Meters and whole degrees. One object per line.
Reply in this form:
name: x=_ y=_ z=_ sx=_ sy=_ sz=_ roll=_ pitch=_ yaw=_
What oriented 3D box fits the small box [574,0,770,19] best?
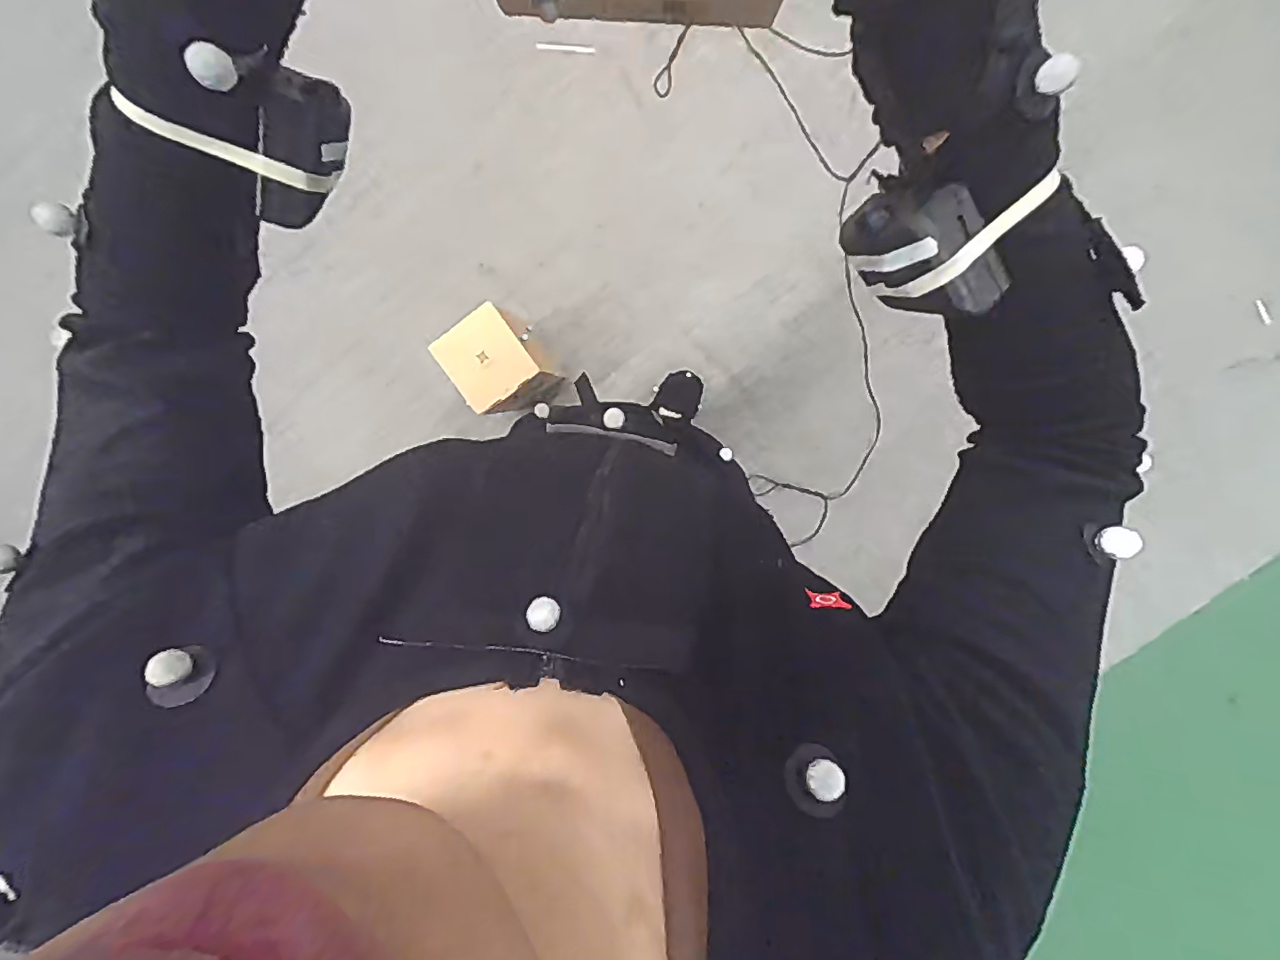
small box: x=0.003 y=-0.342 z=0.231 sx=0.168 sy=0.176 sz=0.179 roll=2 pitch=106 yaw=-1

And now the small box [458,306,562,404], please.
small box: x=-0.317 y=-0.305 z=1.356 sx=0.168 sy=0.176 sz=0.179 roll=-33 pitch=98 yaw=7
